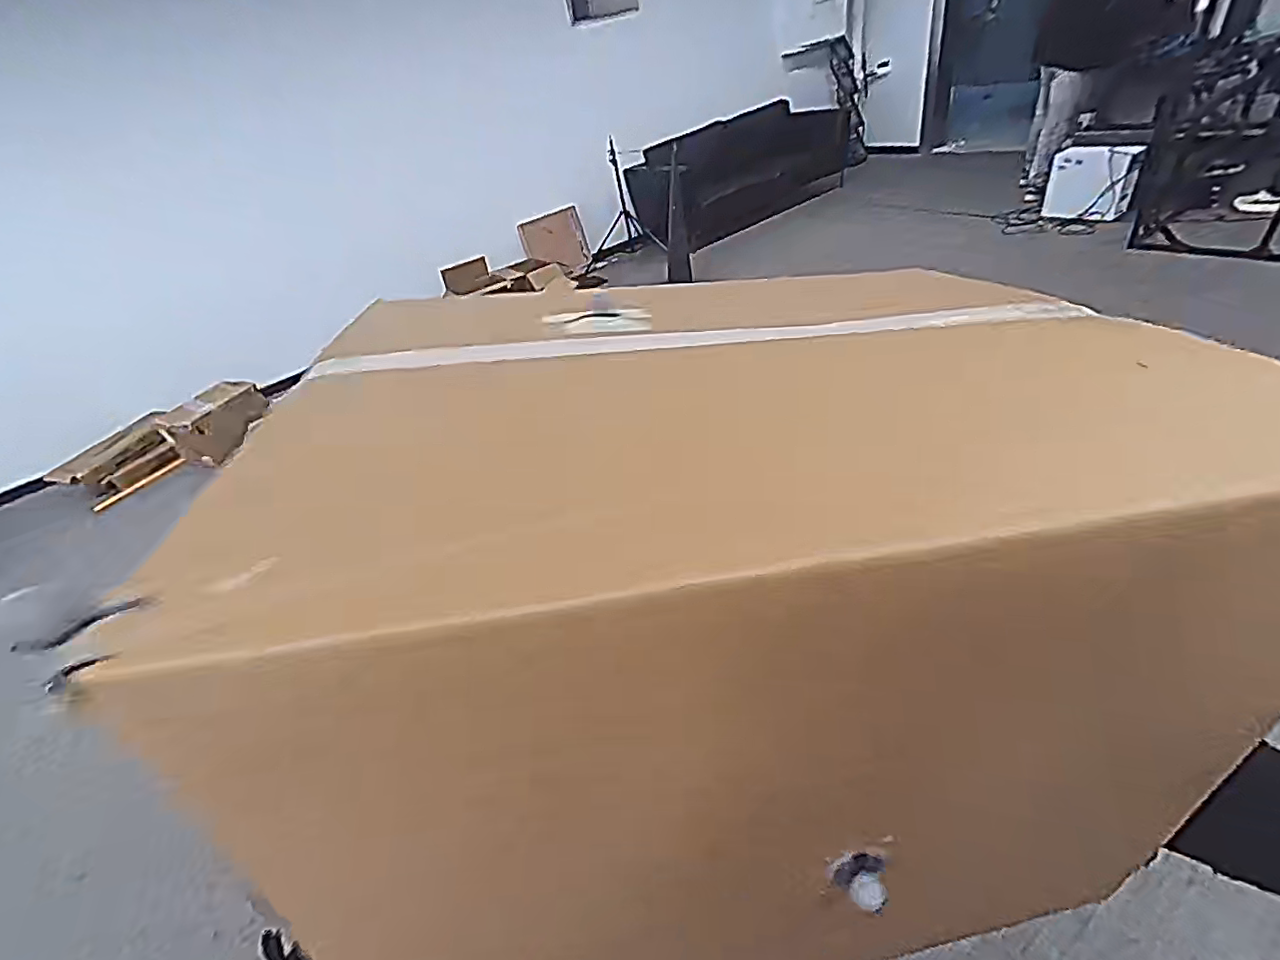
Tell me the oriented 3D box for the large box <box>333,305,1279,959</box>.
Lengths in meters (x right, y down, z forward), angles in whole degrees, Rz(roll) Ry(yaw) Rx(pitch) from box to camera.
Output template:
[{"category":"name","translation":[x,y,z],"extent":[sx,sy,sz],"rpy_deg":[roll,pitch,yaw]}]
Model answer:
[{"category":"large box","translation":[0.081,0.078,0.375],"extent":[0.408,0.320,0.320],"rpy_deg":[-5,32,-11]}]
